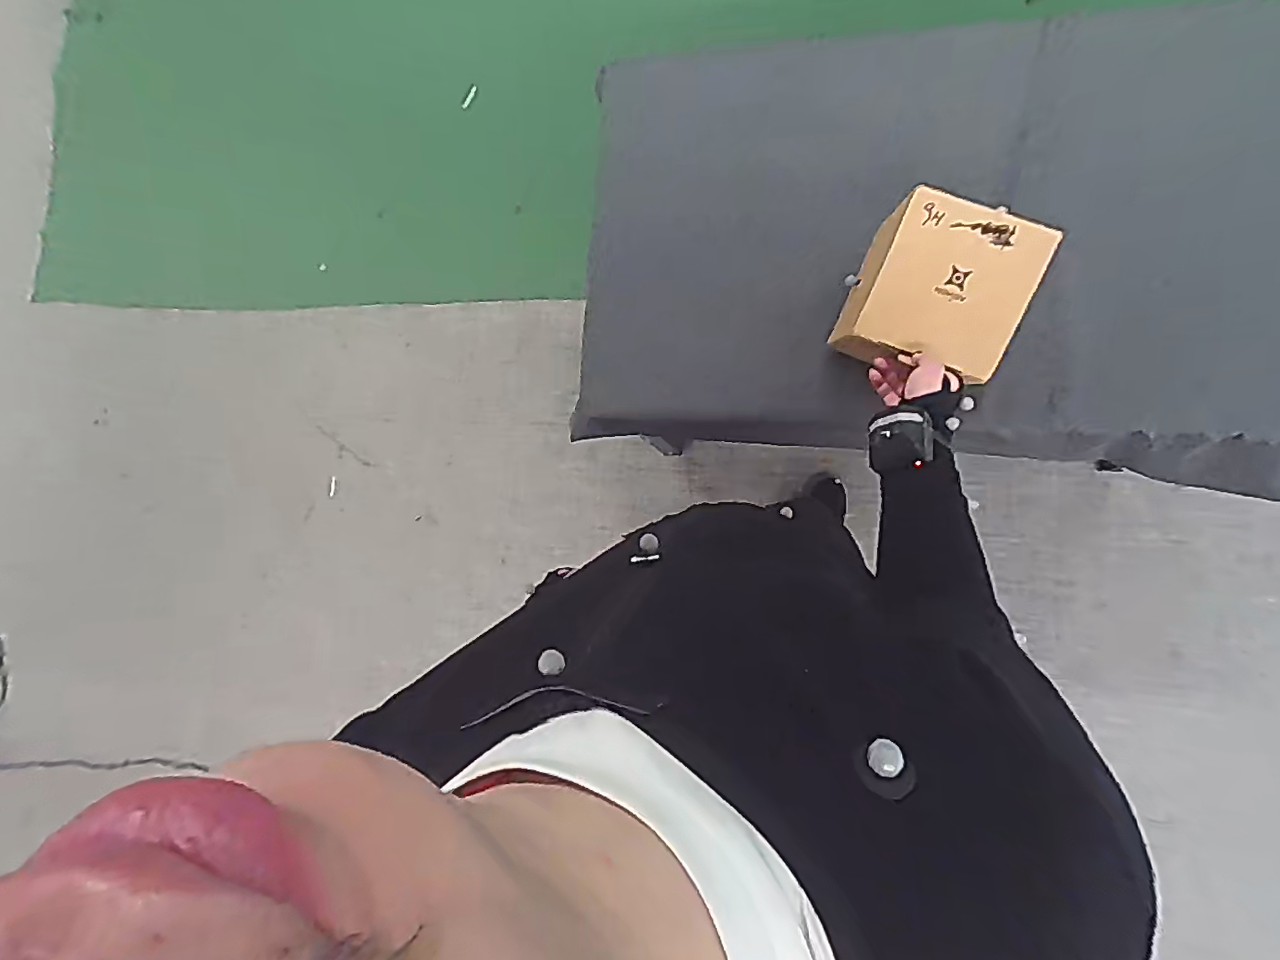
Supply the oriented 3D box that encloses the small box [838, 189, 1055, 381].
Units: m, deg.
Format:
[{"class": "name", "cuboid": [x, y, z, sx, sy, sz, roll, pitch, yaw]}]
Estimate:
[{"class": "small box", "cuboid": [0.369, -0.233, 0.695, 0.168, 0.176, 0.179, 20, 101, 7]}]
